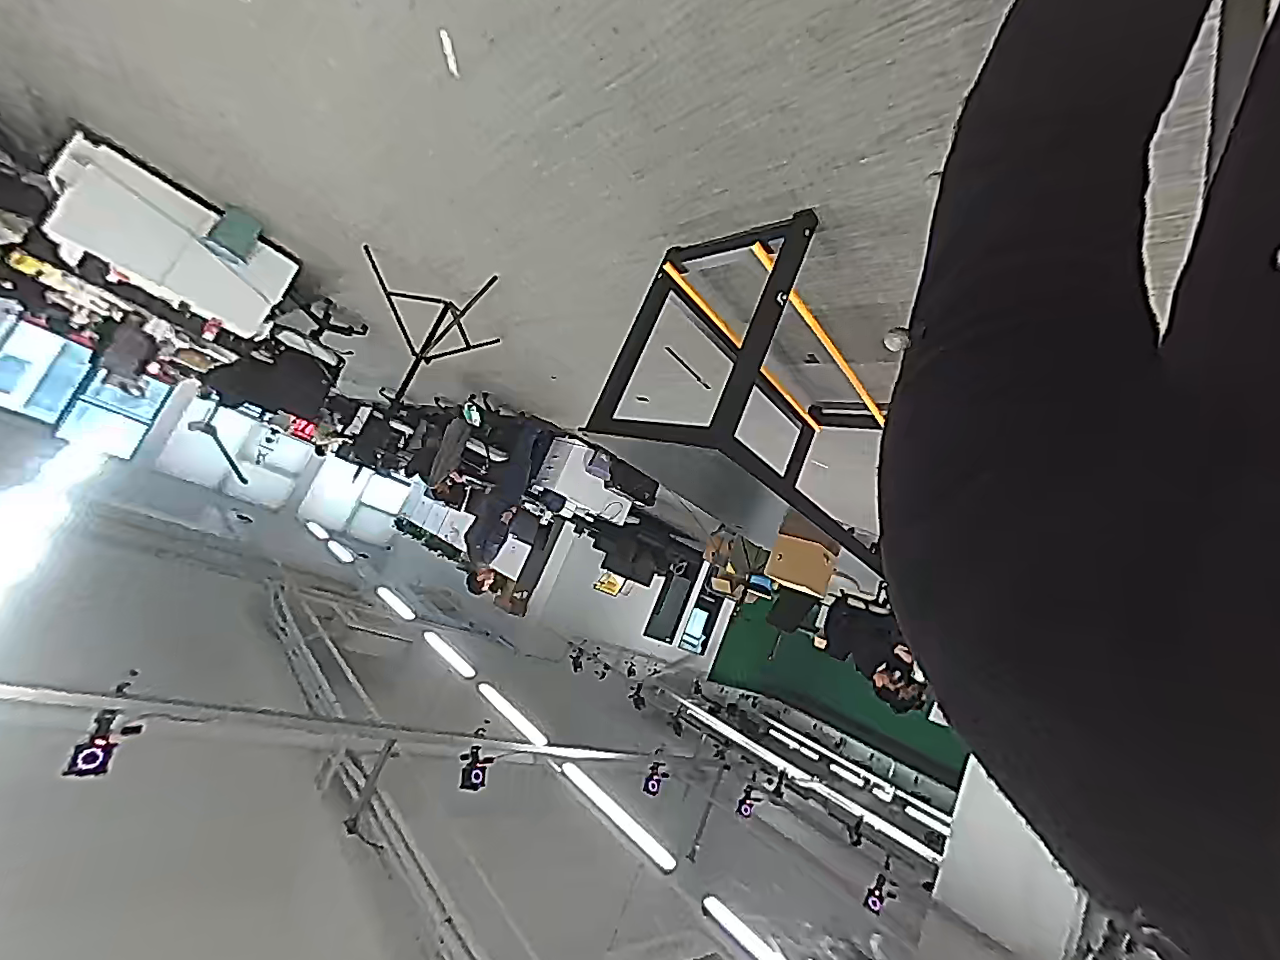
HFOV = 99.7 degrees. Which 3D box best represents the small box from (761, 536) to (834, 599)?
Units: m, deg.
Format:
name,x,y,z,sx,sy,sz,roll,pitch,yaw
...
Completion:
name,x,y,z,sx,sy,sz,roll,pitch,yaw
small box,0.587,0.318,2.003,0.179,0.176,0.168,11,166,47
